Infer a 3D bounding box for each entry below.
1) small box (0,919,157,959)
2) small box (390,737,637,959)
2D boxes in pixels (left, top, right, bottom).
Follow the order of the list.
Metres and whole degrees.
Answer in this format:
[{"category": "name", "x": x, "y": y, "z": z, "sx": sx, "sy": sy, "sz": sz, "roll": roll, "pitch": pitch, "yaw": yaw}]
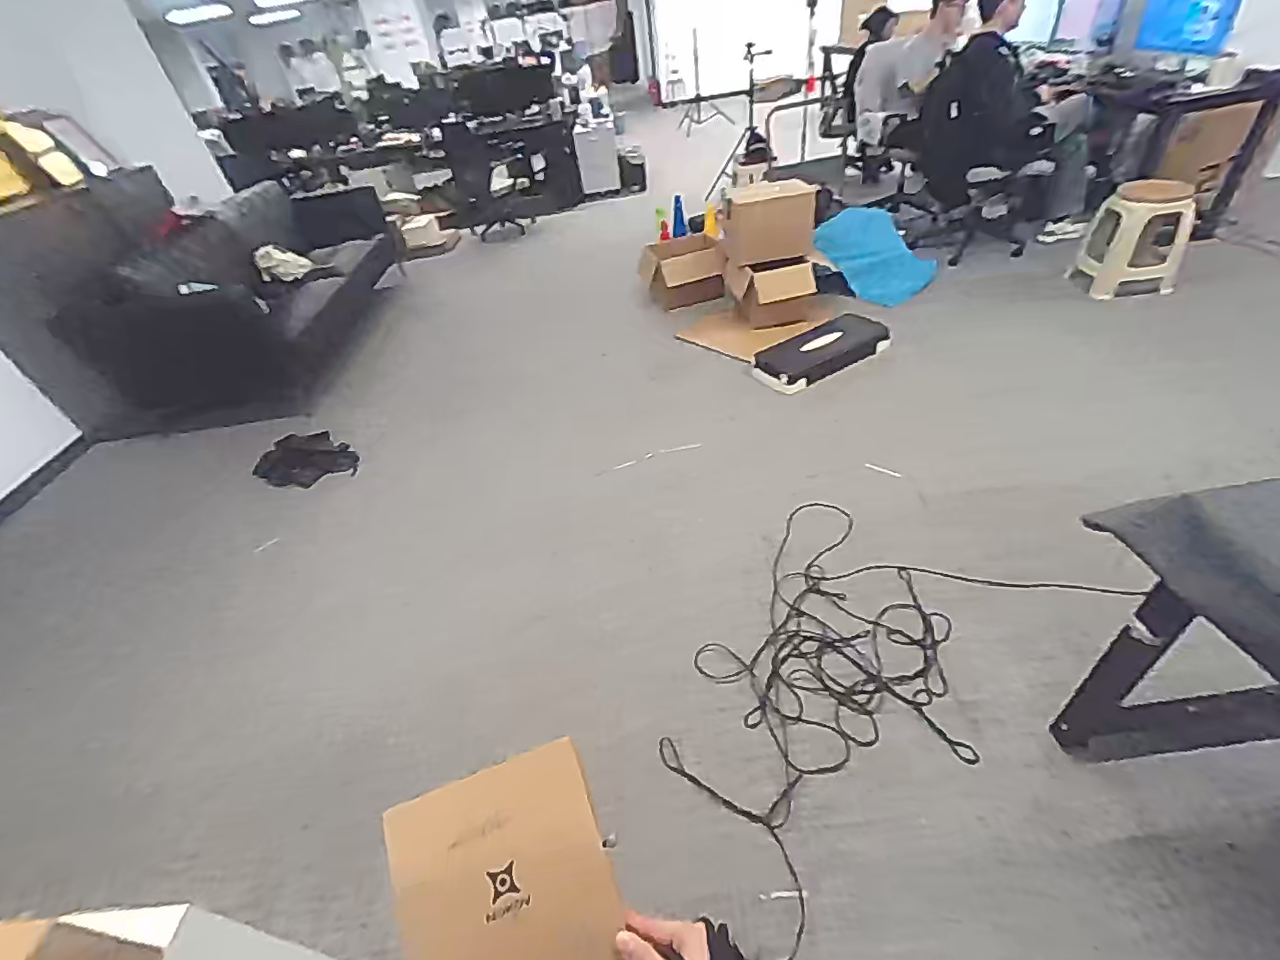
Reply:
[{"category": "small box", "x": -0.672, "y": 0.575, "z": 0.549, "sx": 0.179, "sy": 0.176, "sz": 0.168, "roll": -8, "pitch": 40, "yaw": 4}, {"category": "small box", "x": -0.109, "y": 0.362, "z": 0.501, "sx": 0.168, "sy": 0.176, "sz": 0.179, "roll": -17, "pitch": 62, "yaw": -14}]
